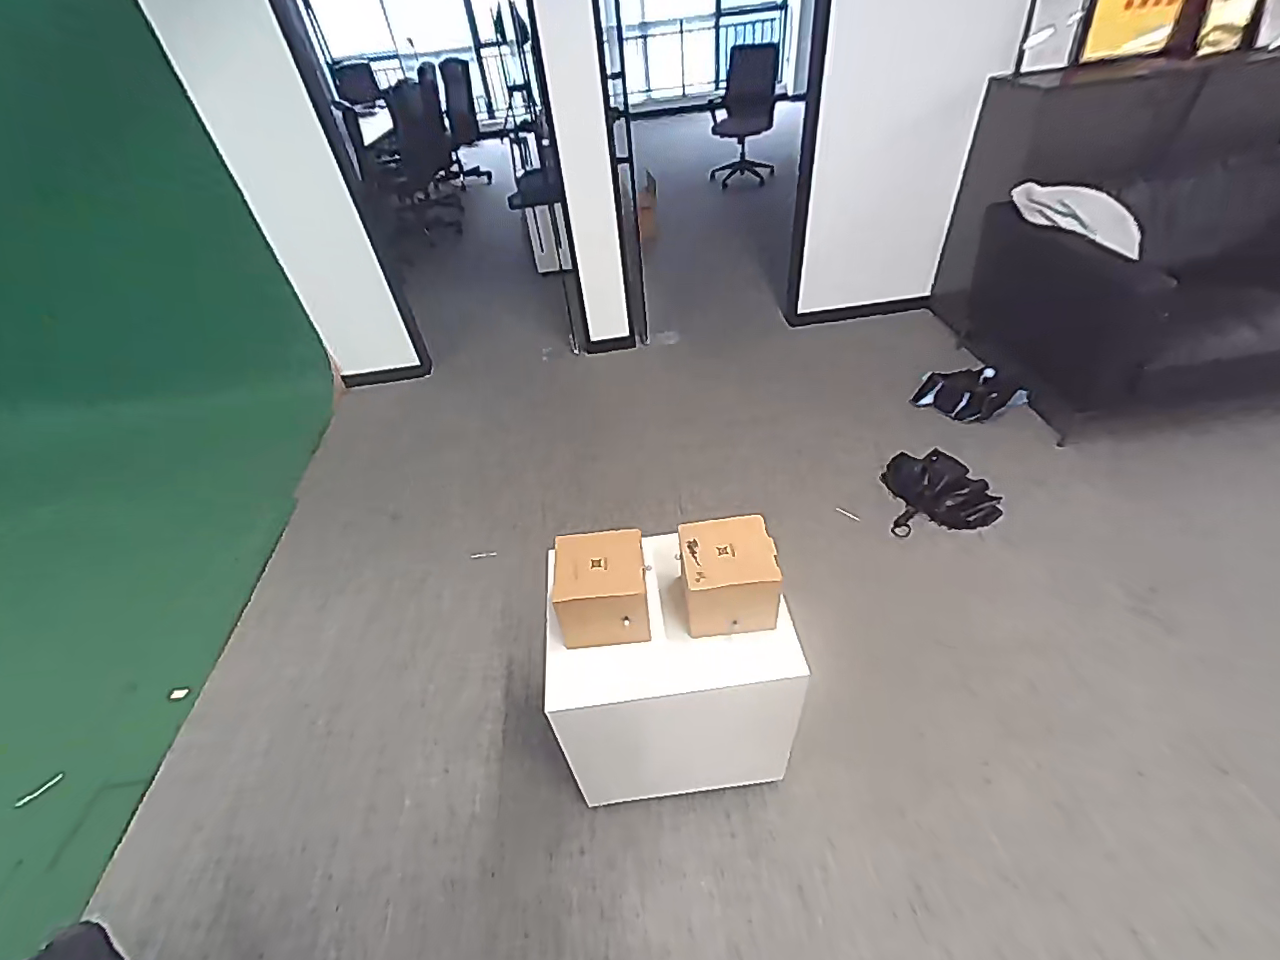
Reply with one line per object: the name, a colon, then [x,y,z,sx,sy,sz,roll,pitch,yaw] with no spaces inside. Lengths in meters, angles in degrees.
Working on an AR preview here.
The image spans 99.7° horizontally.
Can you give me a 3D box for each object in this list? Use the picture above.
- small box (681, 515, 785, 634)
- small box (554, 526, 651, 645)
small box: [0.178,0.192,1.090,0.179,0.176,0.168,-6,43,-1]
small box: [-0.071,0.215,1.093,0.179,0.176,0.168,-6,42,0]
